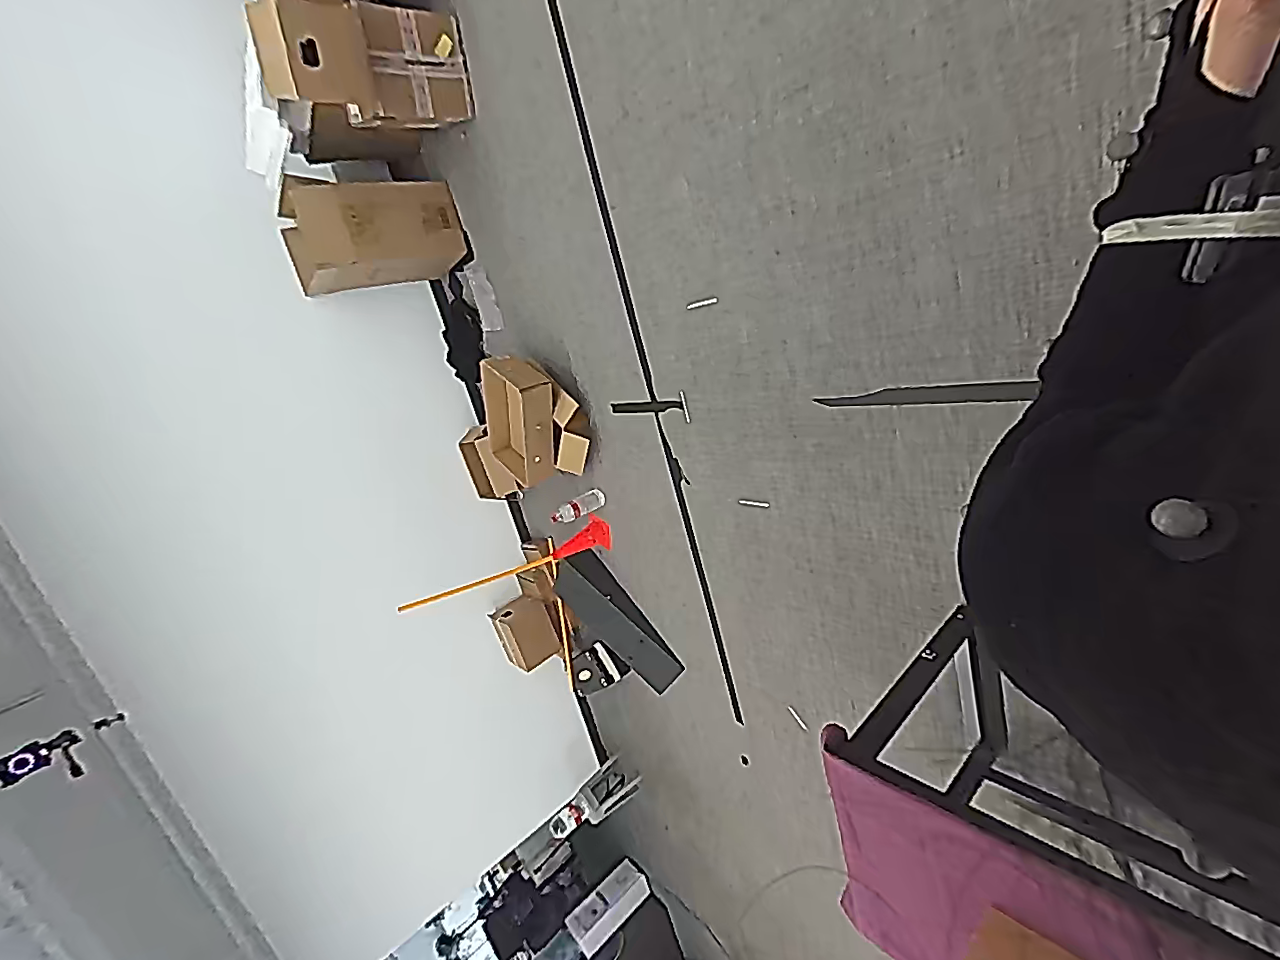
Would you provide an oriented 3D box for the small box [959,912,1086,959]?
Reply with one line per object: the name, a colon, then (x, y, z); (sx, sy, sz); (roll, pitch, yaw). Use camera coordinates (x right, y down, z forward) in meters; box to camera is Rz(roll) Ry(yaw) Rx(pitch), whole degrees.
small box: (0.690, 0.923, 0.956); (0.179, 0.176, 0.168); (4, 116, 53)
